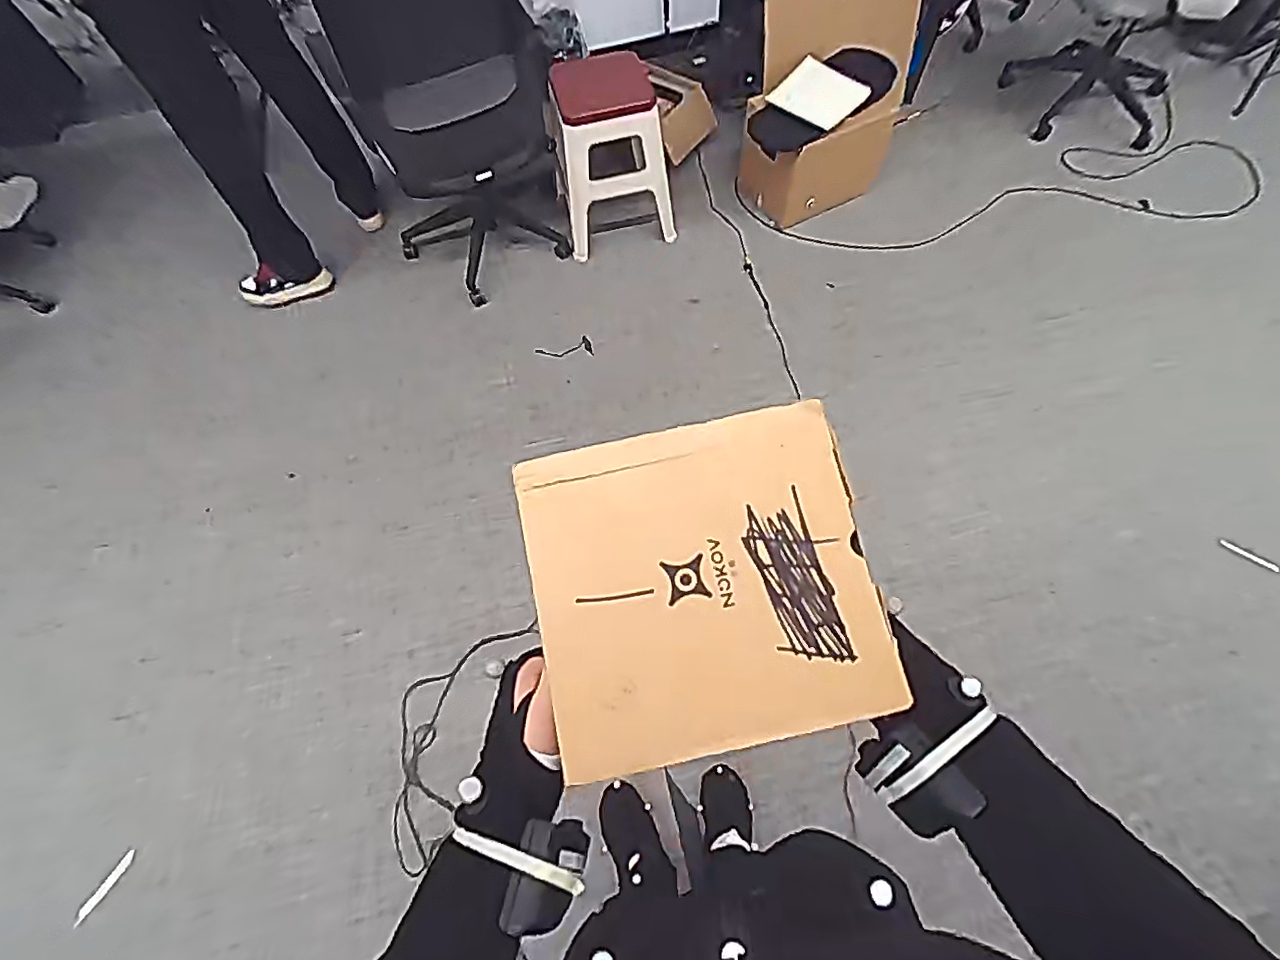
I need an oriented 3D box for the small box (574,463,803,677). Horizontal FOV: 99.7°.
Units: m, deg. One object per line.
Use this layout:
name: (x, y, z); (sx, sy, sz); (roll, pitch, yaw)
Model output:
small box: (0.039, 0.092, 0.524); (0.179, 0.176, 0.168); (-6, 76, 0)
